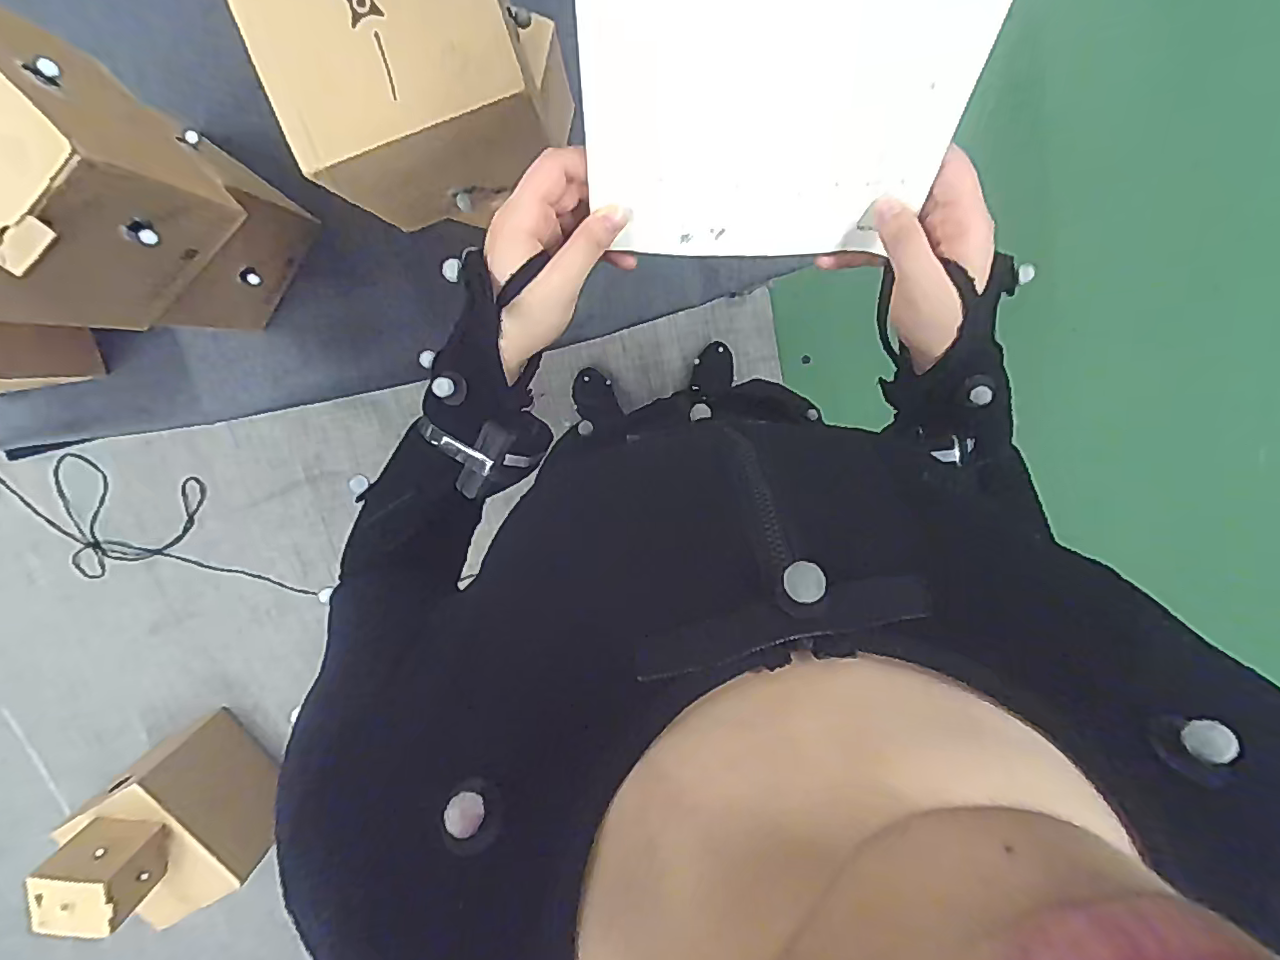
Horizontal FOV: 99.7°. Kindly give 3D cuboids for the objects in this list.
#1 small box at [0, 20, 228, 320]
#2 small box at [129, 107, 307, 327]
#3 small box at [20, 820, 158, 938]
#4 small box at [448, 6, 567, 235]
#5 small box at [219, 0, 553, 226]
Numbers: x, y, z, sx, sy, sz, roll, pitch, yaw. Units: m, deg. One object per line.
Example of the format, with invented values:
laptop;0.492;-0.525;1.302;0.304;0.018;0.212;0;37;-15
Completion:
small box;-0.497;-0.246;0.434;0.168;0.176;0.179;-41;99;7
small box;-0.516;-0.286;0.591;0.179;0.176;0.168;36;100;-8
small box;-1.333;0.972;1.326;0.179;0.176;0.168;8;103;-4
small box;-0.185;-0.376;0.572;0.179;0.176;0.168;16;103;-3
small box;-0.180;-0.324;0.415;0.168;0.176;0.179;-17;103;5
